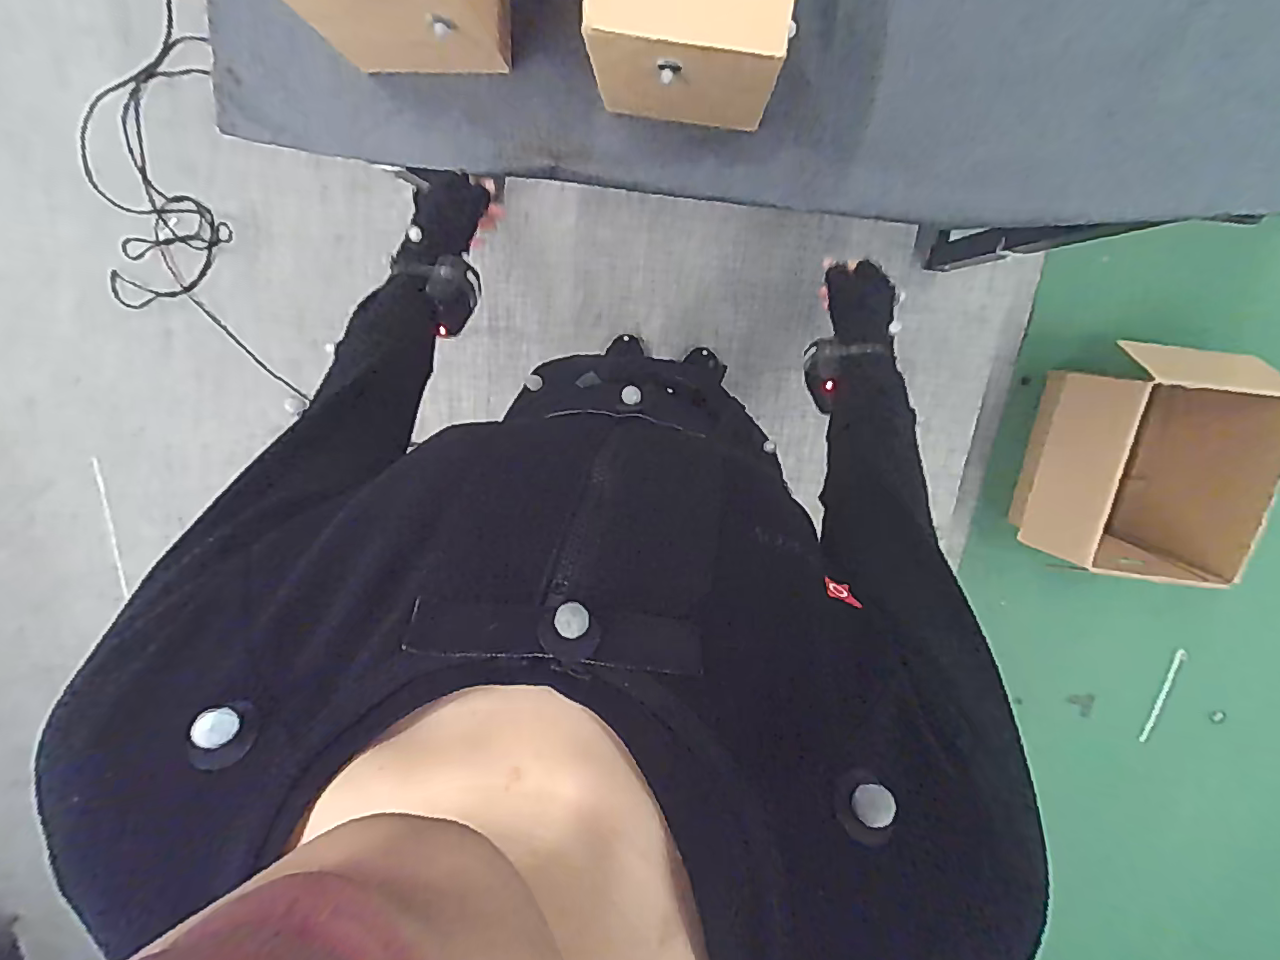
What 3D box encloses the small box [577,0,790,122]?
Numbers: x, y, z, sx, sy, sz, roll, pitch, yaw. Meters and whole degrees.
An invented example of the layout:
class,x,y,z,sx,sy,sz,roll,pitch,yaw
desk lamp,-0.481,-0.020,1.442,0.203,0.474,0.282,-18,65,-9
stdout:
class,x,y,z,sx,sy,sz,roll,pitch,yaw
small box,0.049,-0.465,0.509,0.179,0.176,0.168,9,106,1
